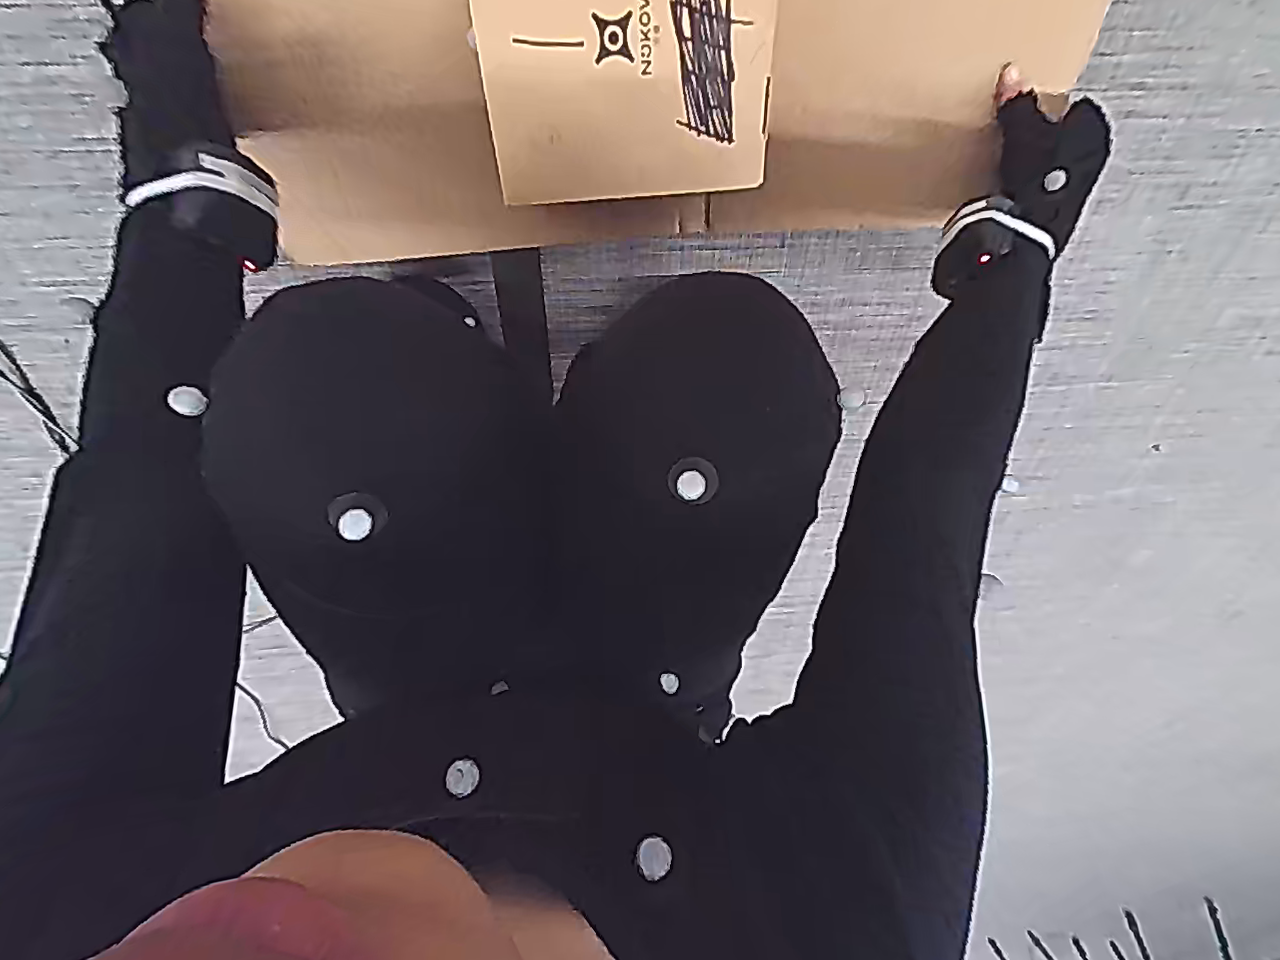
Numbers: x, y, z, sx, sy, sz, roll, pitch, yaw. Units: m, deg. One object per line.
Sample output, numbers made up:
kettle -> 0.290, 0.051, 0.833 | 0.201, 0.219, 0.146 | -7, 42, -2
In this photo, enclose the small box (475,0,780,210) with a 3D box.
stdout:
small box -> -0.014, -0.302, 0.378 | 0.179, 0.176, 0.168 | -6, 129, -4
